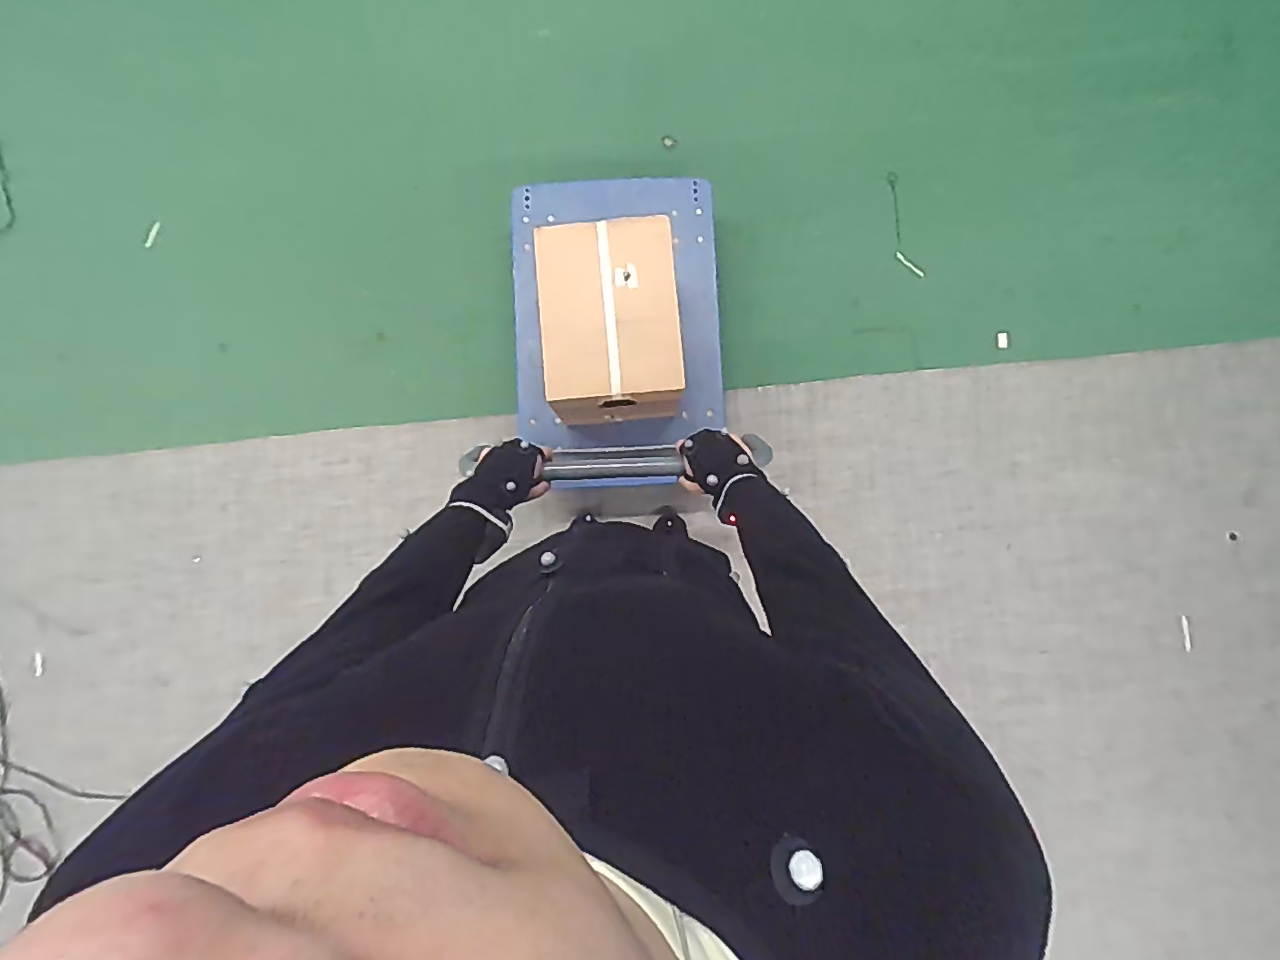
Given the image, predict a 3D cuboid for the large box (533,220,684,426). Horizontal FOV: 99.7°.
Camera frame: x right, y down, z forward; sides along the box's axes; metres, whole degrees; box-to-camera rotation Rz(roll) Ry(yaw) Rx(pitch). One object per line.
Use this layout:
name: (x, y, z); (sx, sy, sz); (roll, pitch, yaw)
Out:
large box: (-0.070, -0.372, 1.371); (0.320, 0.320, 0.408); (-5, 86, 0)
